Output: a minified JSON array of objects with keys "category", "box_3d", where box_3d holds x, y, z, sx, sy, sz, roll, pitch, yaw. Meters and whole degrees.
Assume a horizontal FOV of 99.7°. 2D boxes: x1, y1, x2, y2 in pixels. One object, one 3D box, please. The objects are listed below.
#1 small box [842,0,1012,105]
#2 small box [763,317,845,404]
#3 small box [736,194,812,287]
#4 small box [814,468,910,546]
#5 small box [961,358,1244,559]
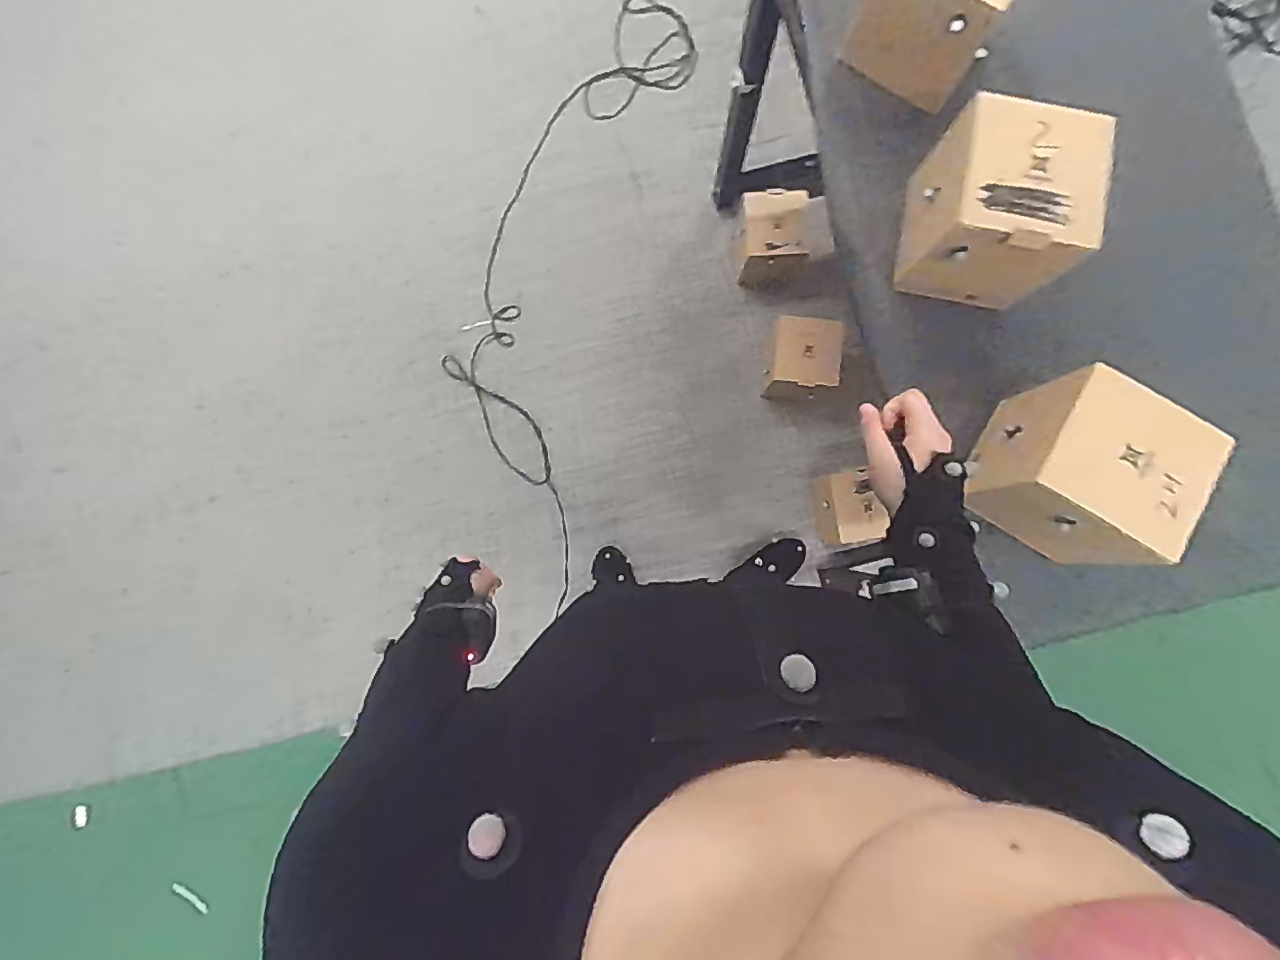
[{"category":"small box","box_3d":[0.412,-0.671,0.742,0.179,0.176,0.168,34,86,4]},{"category":"small box","box_3d":[0.429,-0.309,1.436,0.168,0.176,0.179,6,83,1]},{"category":"small box","box_3d":[0.359,-0.647,1.472,0.168,0.176,0.179,-2,83,1]},{"category":"small box","box_3d":[0.562,0.073,1.394,0.168,0.176,0.179,-8,85,0]},{"category":"small box","box_3d":[0.546,-0.014,0.667,0.179,0.176,0.168,32,83,3]}]
